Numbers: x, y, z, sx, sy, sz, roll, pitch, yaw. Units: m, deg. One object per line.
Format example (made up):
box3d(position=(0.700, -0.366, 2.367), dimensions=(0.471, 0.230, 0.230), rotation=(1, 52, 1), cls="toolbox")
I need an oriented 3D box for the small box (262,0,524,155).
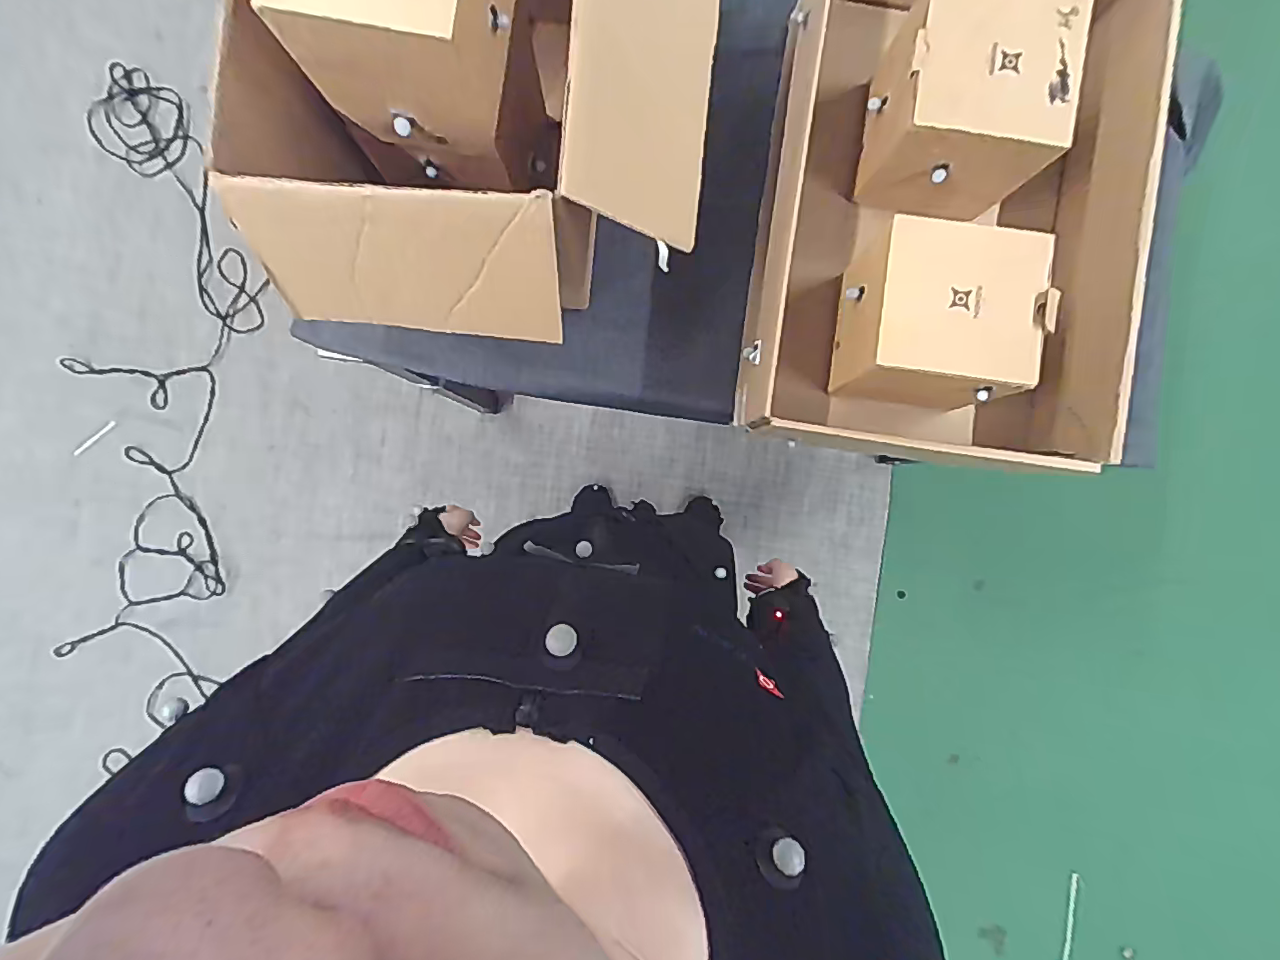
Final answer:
box3d(position=(-0.214, -0.453, 0.513), dimensions=(0.168, 0.176, 0.179), rotation=(10, 92, -1), cls="small box")
